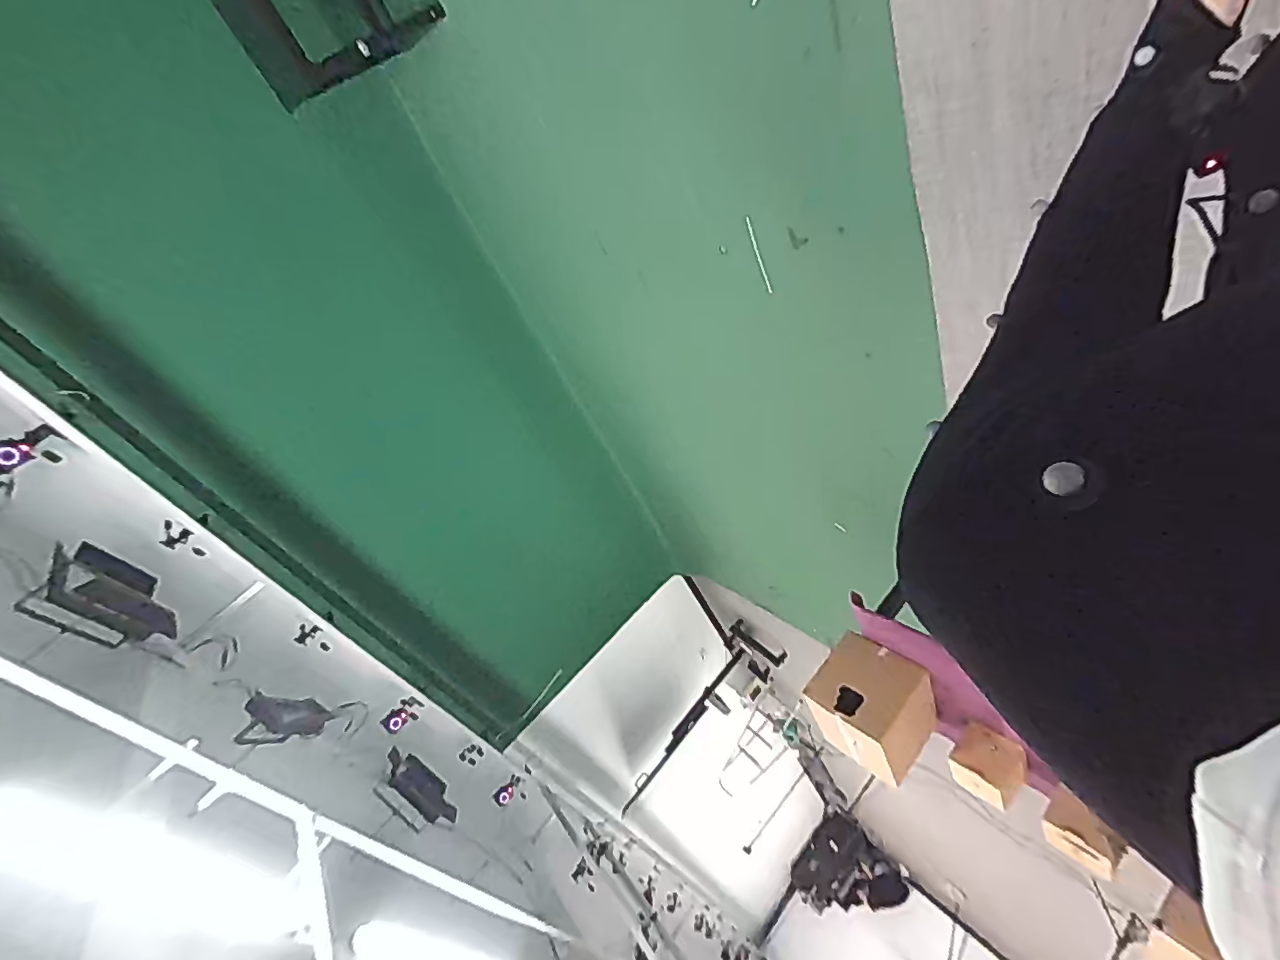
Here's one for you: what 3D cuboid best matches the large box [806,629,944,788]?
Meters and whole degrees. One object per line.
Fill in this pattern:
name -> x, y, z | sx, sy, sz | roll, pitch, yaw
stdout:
large box -> 0.877, 0.836, 1.999 | 0.320, 0.320, 0.408 | 20, 149, 49
